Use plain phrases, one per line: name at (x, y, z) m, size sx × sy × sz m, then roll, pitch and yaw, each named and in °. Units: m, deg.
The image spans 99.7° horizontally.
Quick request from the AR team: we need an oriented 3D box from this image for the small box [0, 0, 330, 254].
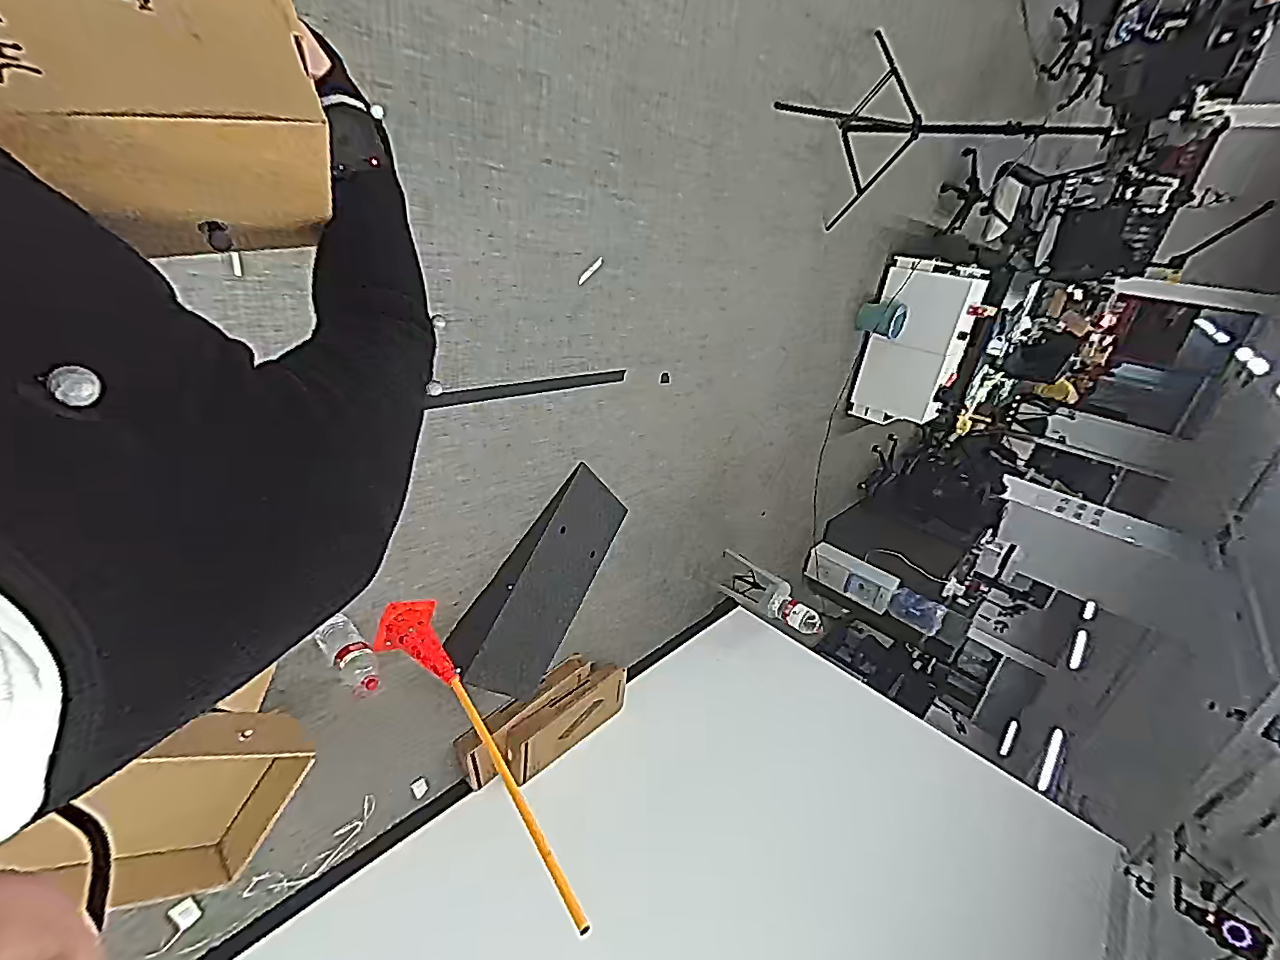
small box at (-0.352, -0.288, 0.402) m, size 0.179 × 0.176 × 0.168 m, roll -19°, pitch 92°, yaw -30°
